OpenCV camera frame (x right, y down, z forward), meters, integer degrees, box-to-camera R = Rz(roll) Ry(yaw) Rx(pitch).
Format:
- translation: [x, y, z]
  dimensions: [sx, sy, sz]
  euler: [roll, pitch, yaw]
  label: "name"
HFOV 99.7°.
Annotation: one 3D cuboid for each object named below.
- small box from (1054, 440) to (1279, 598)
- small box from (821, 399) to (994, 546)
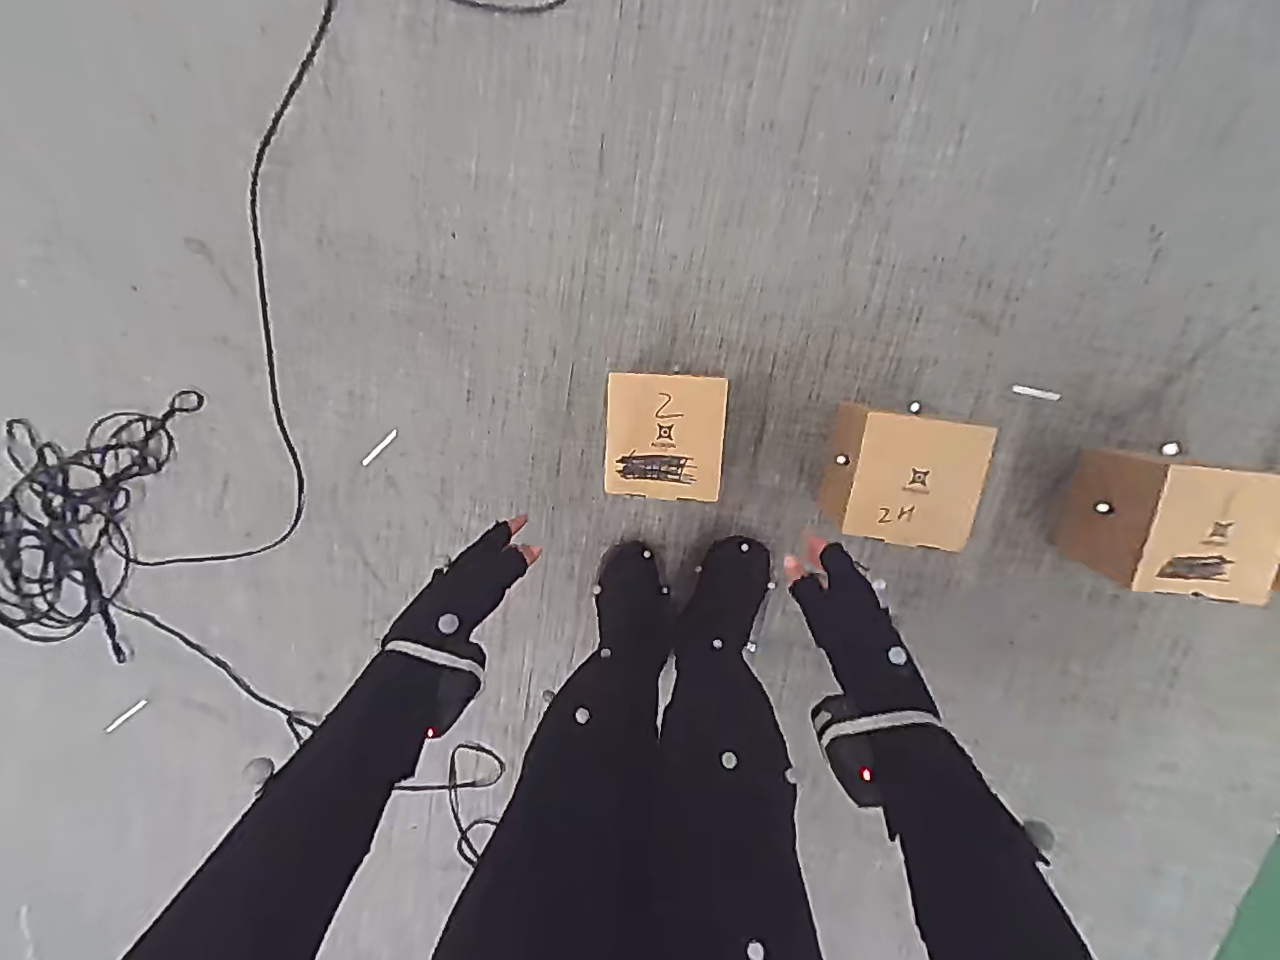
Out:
- translation: [0.750, 0.047, 0.785]
  dimensions: [0.168, 0.176, 0.179]
  euler: [7, 102, 5]
  label: "small box"
- translation: [0.382, -0.021, 0.809]
  dimensions: [0.168, 0.176, 0.179]
  euler: [9, 104, 5]
  label: "small box"
